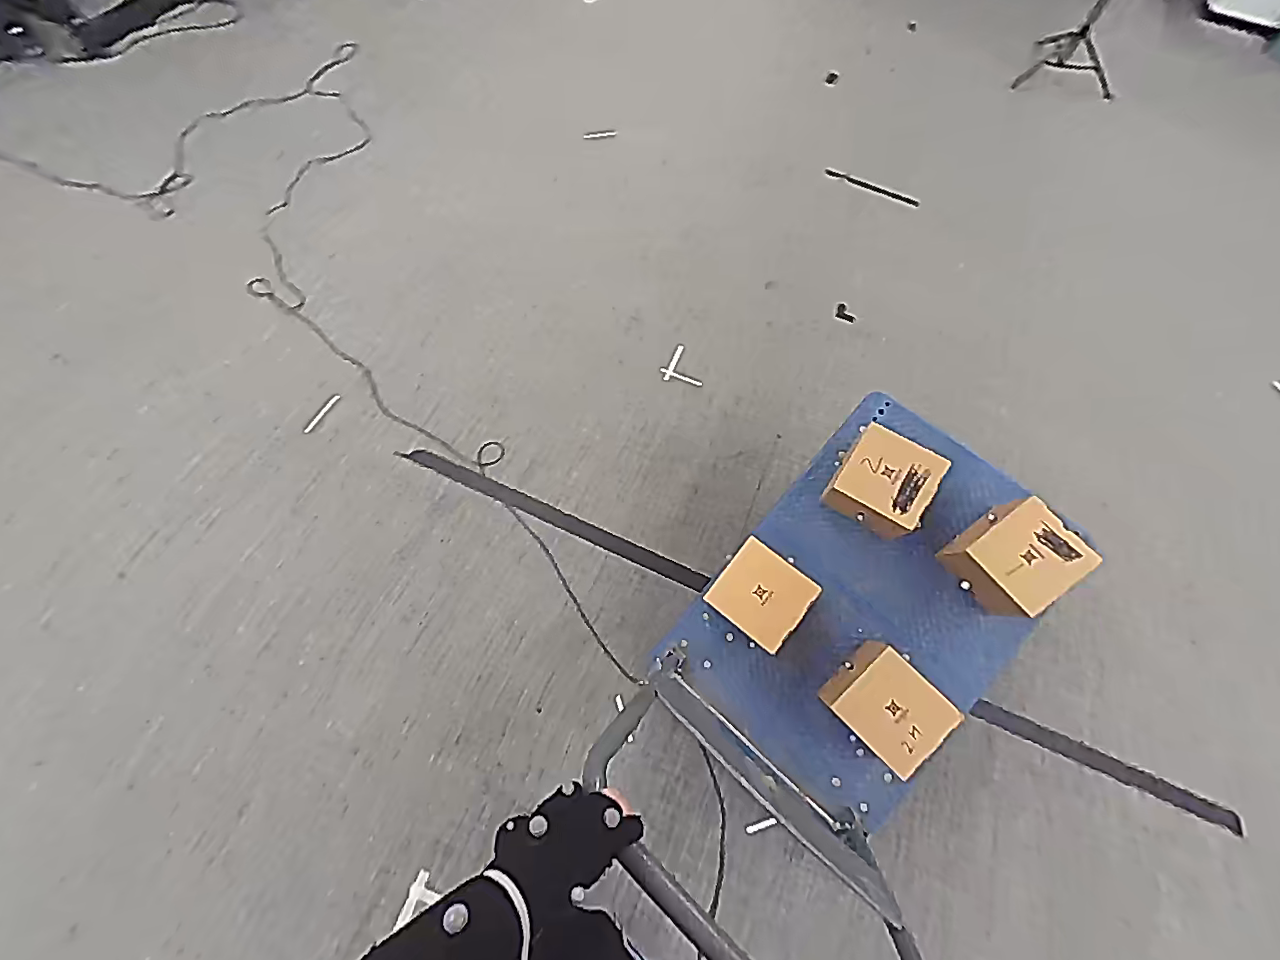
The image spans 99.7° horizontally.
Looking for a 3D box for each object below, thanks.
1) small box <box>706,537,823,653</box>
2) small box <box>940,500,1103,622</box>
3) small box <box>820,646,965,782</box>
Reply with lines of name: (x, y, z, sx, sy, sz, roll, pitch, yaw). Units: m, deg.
small box: (0.256, 0.246, 1.156, 0.179, 0.176, 0.168, 38, 85, 13)
small box: (0.758, 0.166, 1.098, 0.179, 0.176, 0.168, -38, 75, 0)
small box: (0.485, 0.450, 1.074, 0.168, 0.176, 0.179, -44, 75, -2)
